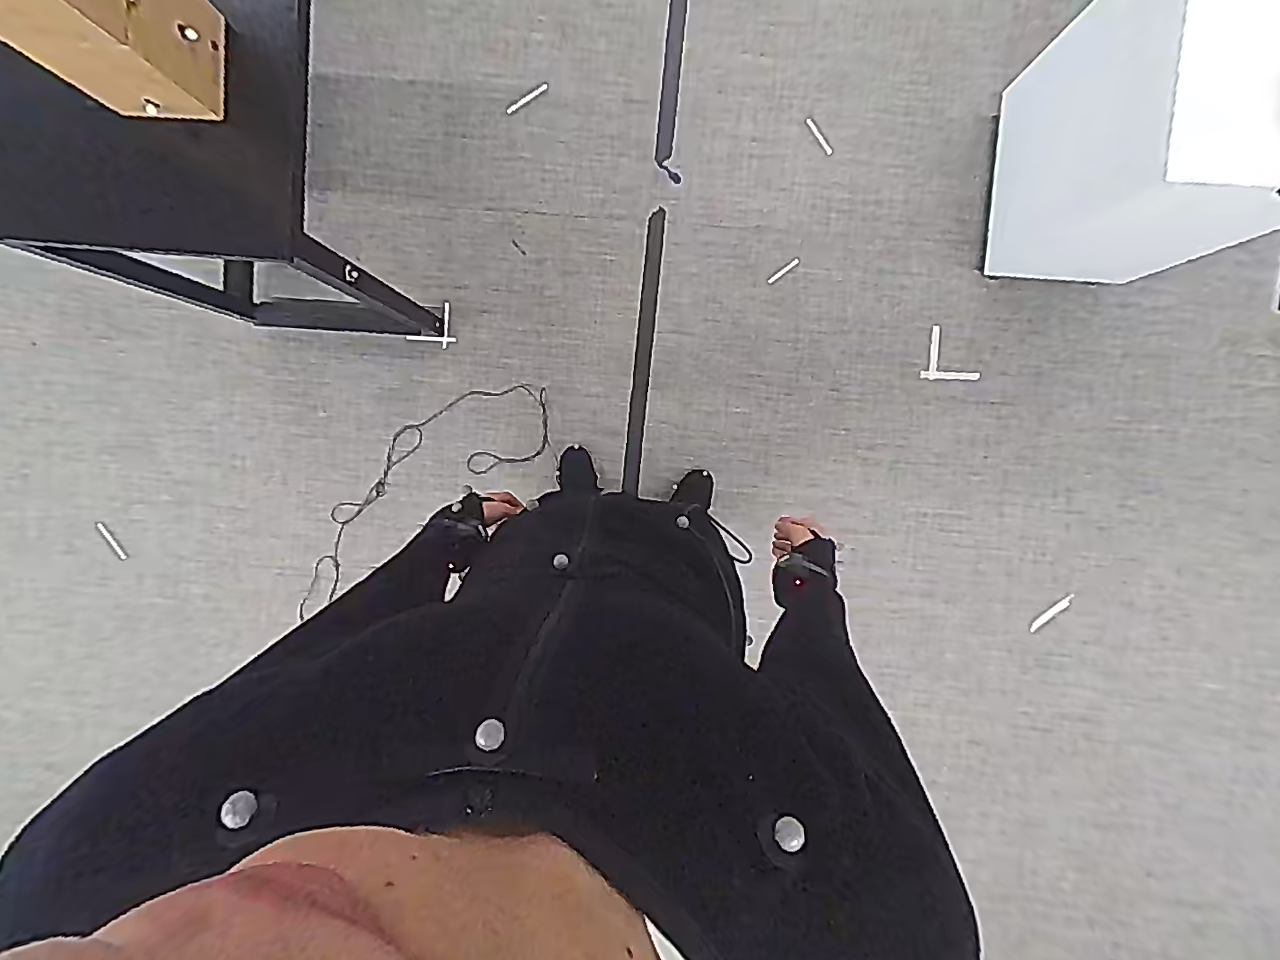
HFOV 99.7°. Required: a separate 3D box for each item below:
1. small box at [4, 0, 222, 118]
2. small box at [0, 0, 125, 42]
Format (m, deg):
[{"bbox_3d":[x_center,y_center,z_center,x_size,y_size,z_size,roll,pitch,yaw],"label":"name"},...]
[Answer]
[{"bbox_3d":[-0.763,-0.670,0.801,0.179,0.176,0.168,3,93,1],"label":"small box"},{"bbox_3d":[-0.768,-0.661,0.636,0.179,0.176,0.168,4,94,1],"label":"small box"}]
